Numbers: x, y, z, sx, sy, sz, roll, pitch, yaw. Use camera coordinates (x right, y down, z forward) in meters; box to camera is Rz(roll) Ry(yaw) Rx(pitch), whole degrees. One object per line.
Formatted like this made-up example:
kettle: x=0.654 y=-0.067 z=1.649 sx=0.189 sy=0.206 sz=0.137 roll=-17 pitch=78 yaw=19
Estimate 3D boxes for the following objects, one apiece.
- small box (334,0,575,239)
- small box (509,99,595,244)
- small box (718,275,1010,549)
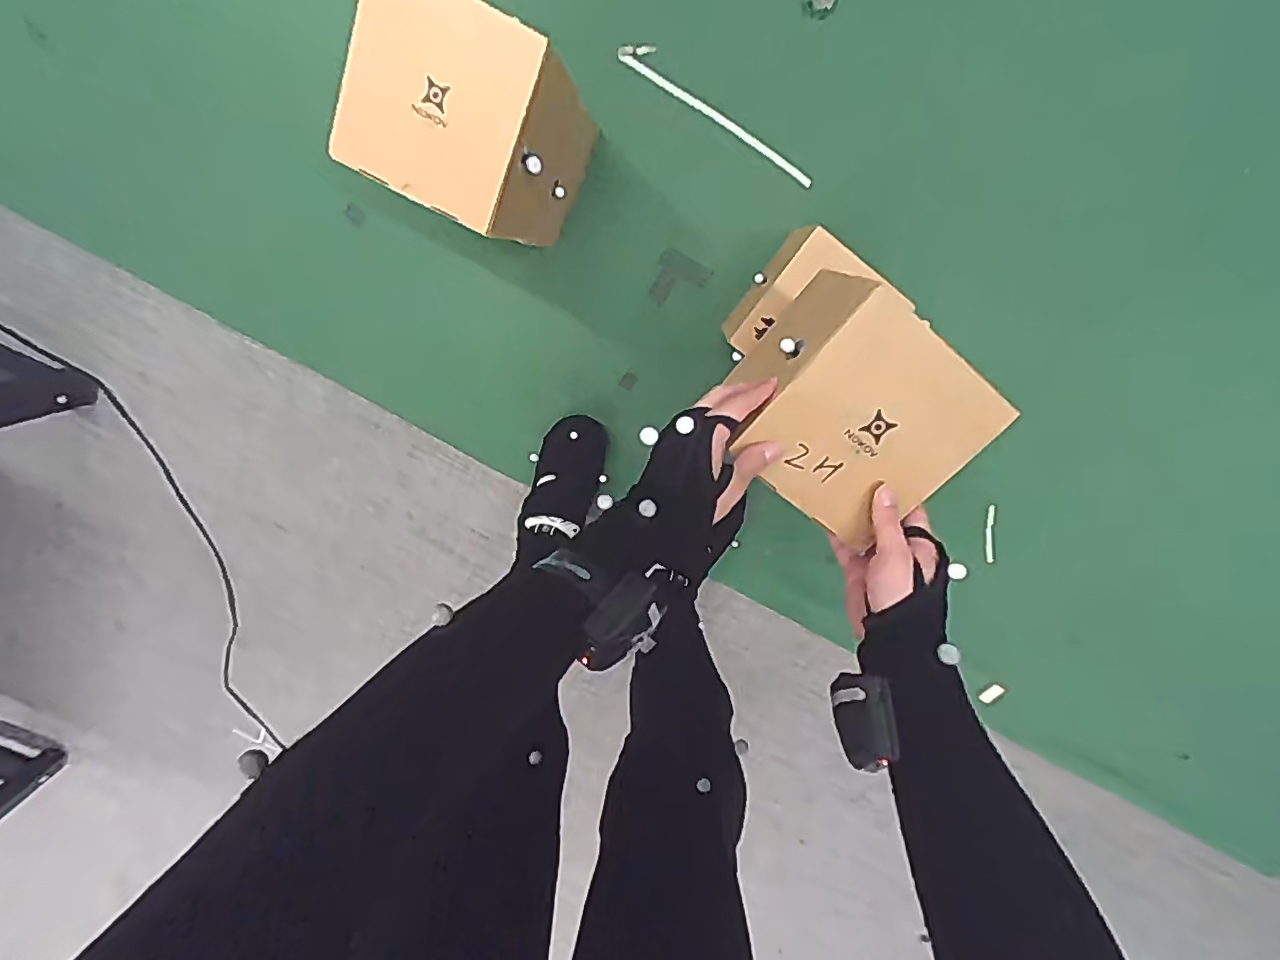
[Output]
small box: x=-0.180 y=-0.377 z=0.570 sx=0.168 sy=0.176 sz=0.179 roll=26 pitch=113 yaw=-6
small box: x=-0.172 y=-0.435 z=0.721 sx=0.168 sy=0.176 sz=0.179 roll=27 pitch=112 yaw=-6
small box: x=0.192 y=-0.075 z=0.525 sx=0.168 sy=0.176 sz=0.179 roll=36 pitch=112 yaw=-14
